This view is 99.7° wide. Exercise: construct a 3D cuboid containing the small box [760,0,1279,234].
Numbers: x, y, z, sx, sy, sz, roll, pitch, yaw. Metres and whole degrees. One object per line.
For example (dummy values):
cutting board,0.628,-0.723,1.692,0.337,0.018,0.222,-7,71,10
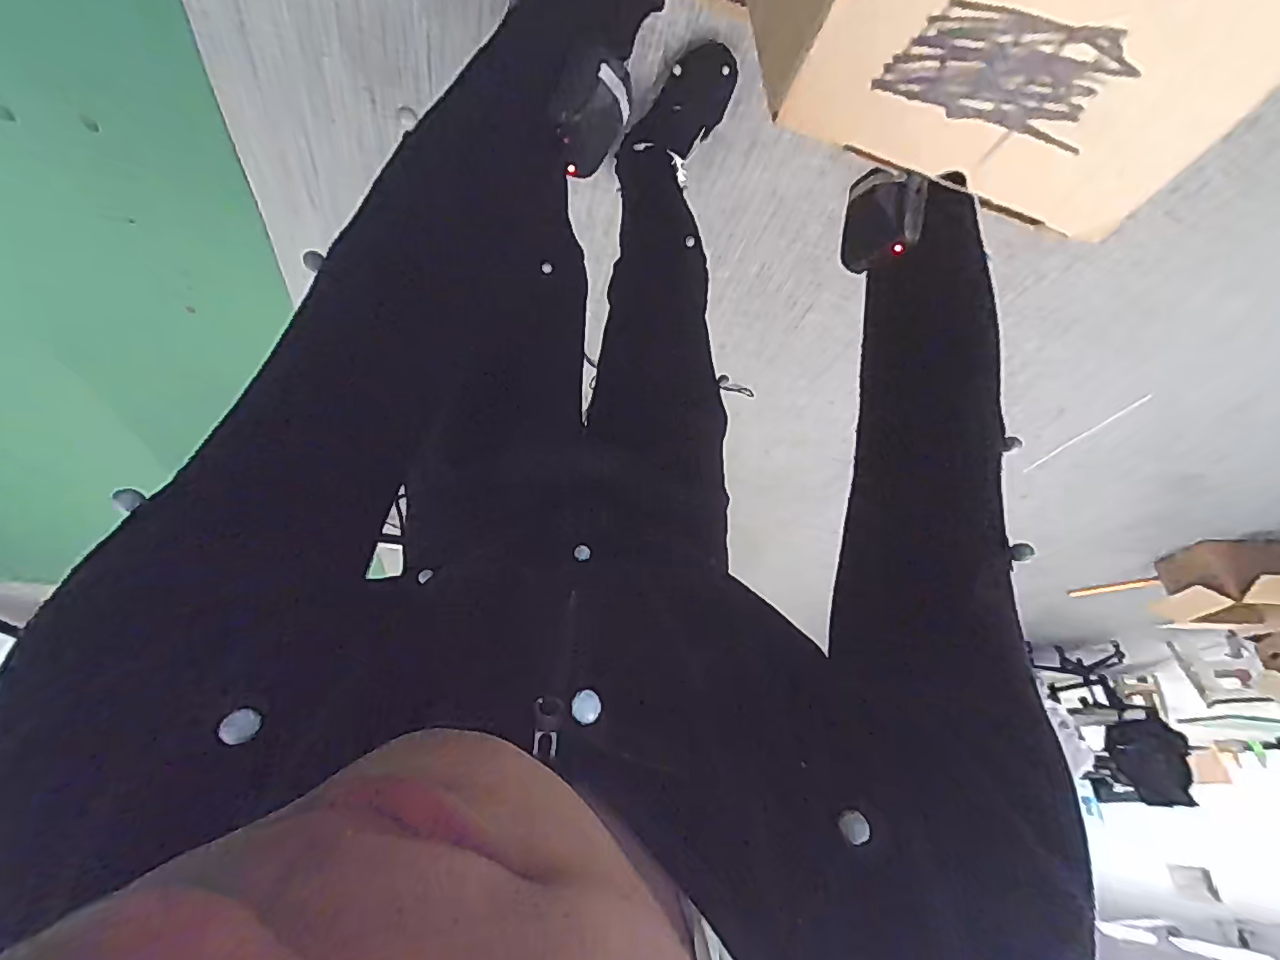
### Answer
small box,0.155,-0.237,0.199,0.168,0.176,0.179,10,147,-15
